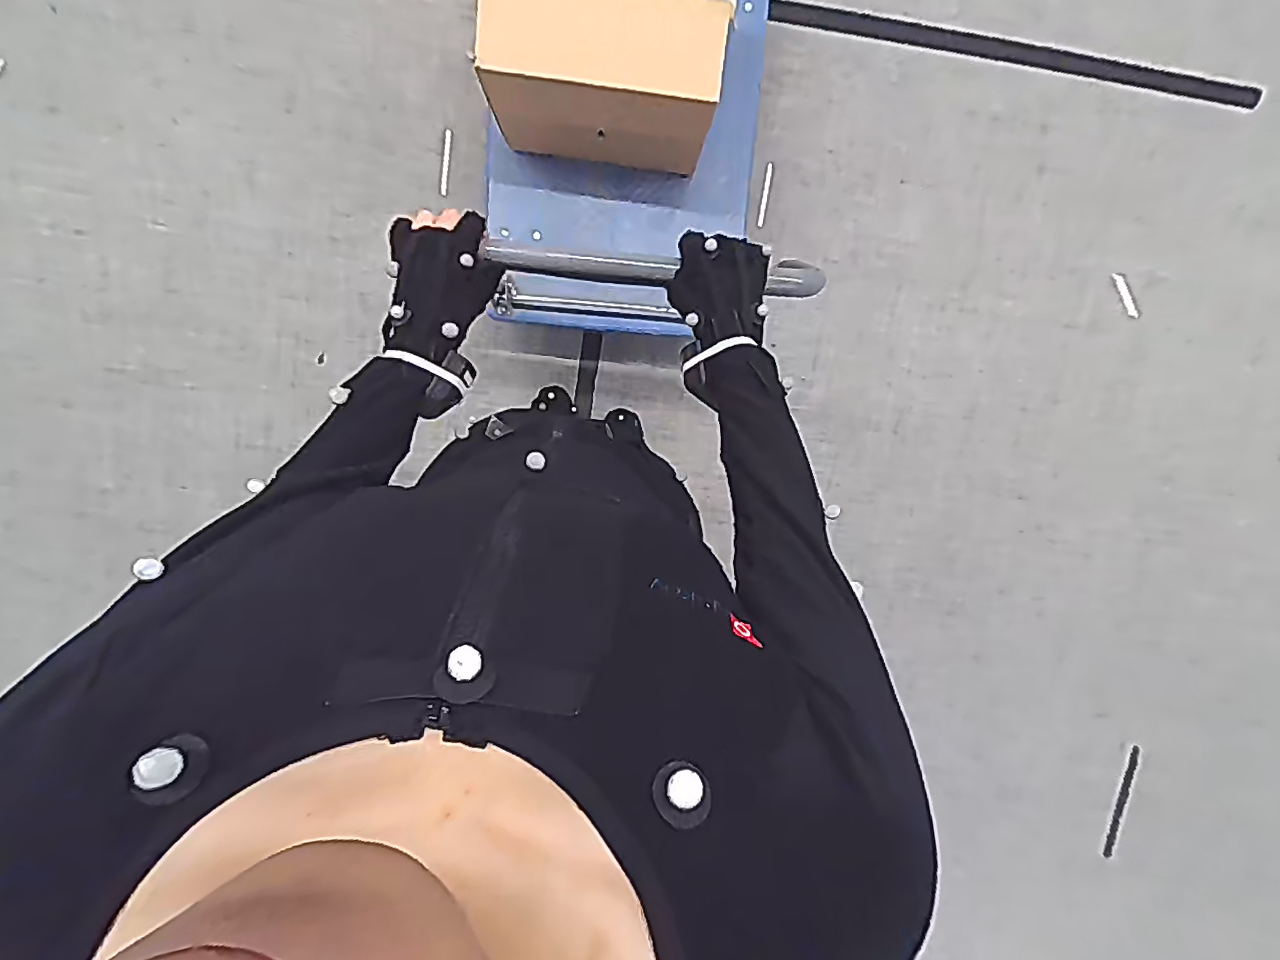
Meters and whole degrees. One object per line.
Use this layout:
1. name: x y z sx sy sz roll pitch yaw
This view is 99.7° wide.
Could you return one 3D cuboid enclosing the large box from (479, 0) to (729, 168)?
1. large box: -0.055 -0.822 1.012 0.408 0.320 0.320 6 99 -3
